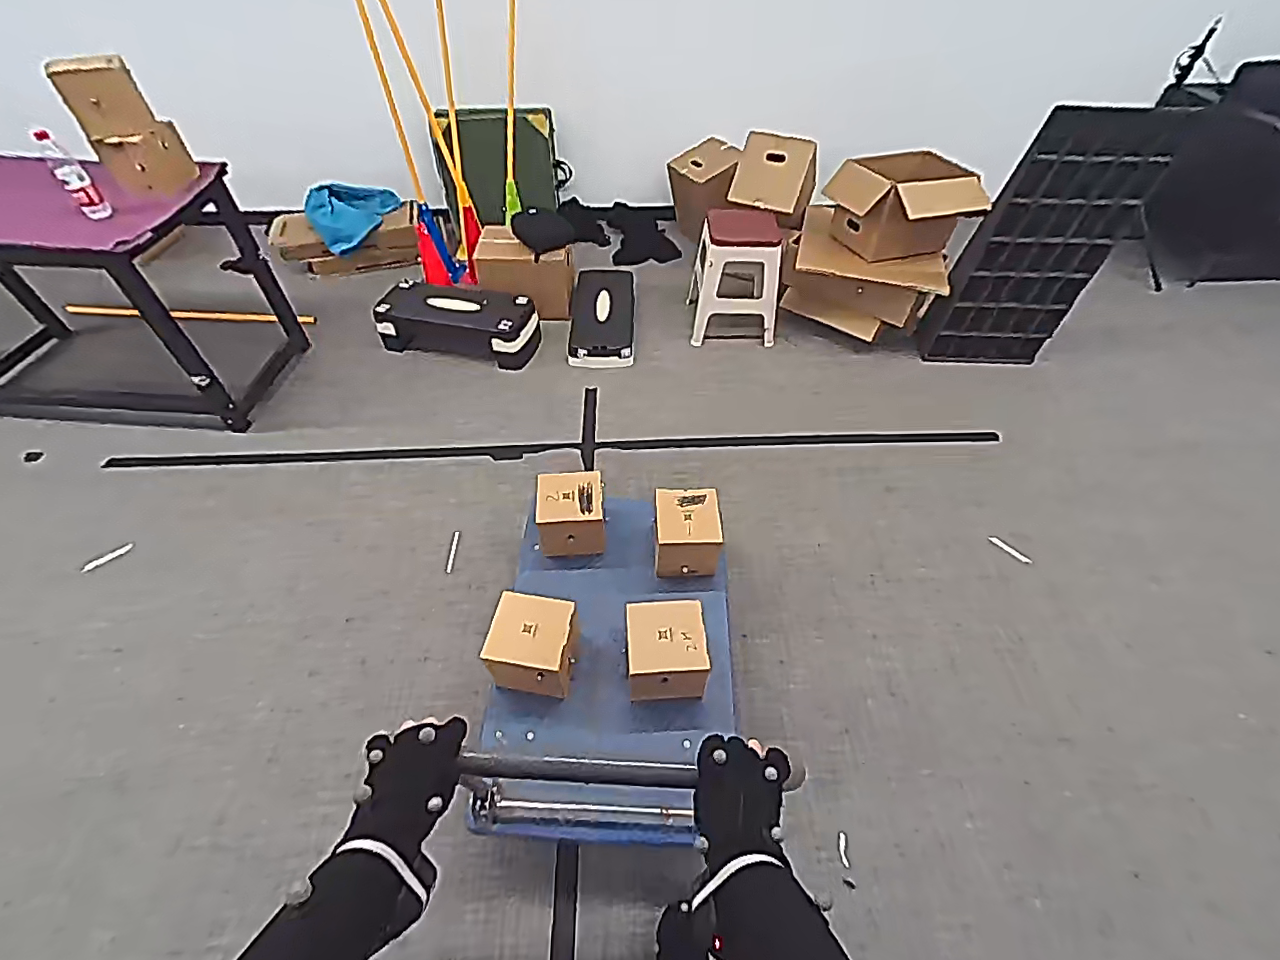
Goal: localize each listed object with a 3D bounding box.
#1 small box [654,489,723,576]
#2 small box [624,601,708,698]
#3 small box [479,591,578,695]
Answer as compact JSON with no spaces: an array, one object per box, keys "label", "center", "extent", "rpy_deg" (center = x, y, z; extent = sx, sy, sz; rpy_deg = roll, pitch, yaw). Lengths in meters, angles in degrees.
[{"label":"small box","center":[0.123,0.142,1.461],"extent":[0.168,0.176,0.179],"rpy_deg":[0,51,-1]},{"label":"small box","center":[0.055,0.395,1.248],"extent":[0.179,0.176,0.168],"rpy_deg":[-2,50,-2]},{"label":"small box","center":[-0.250,0.381,1.255],"extent":[0.179,0.176,0.168],"rpy_deg":[9,50,4]}]
